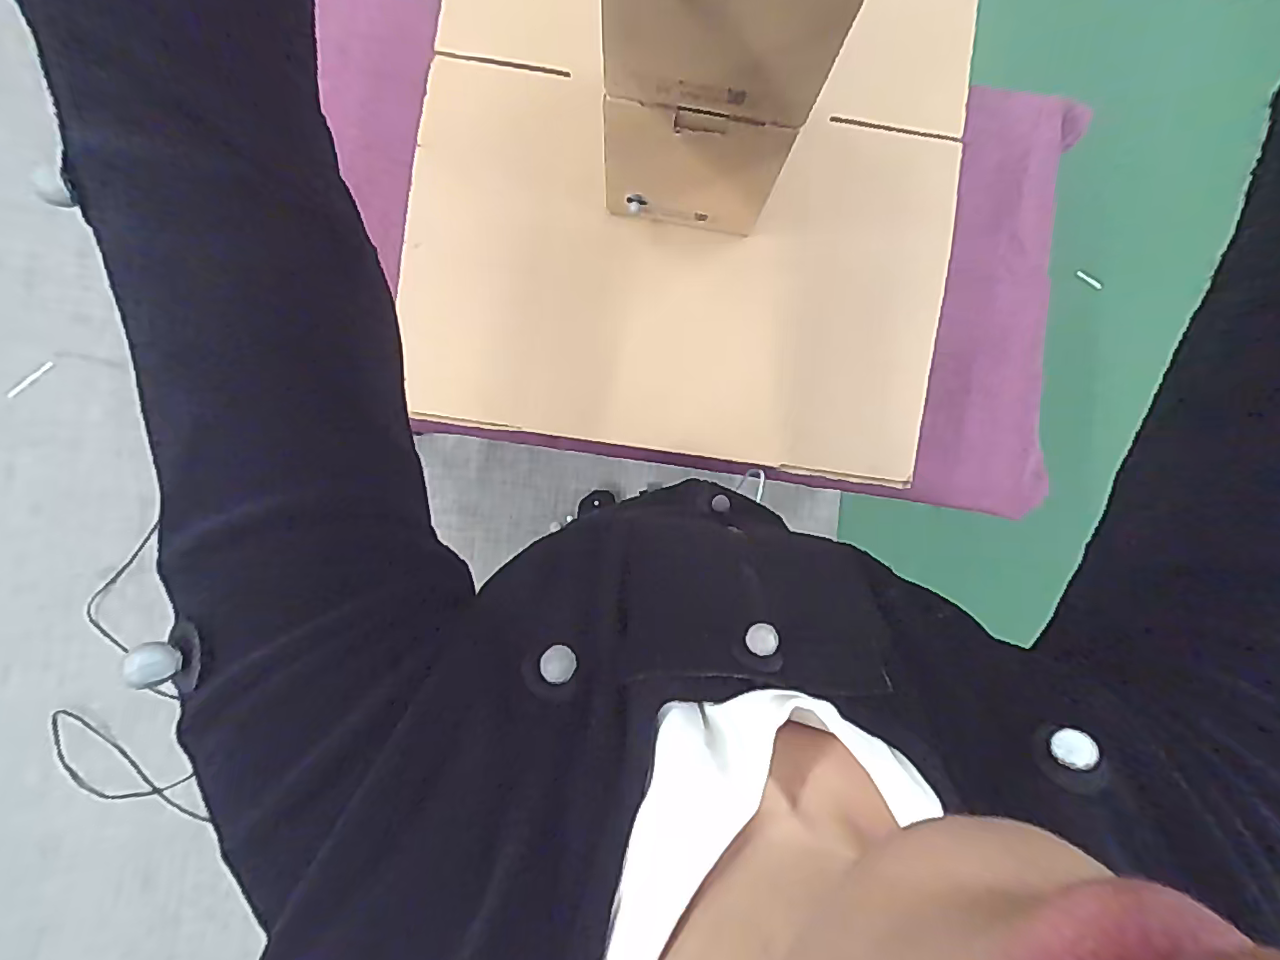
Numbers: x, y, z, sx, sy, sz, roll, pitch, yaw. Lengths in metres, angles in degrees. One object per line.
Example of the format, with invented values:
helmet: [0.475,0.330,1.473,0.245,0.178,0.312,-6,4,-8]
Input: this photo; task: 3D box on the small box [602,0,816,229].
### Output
small box: [0.059,-0.376,0.527,0.168,0.176,0.179,9,85,-2]
